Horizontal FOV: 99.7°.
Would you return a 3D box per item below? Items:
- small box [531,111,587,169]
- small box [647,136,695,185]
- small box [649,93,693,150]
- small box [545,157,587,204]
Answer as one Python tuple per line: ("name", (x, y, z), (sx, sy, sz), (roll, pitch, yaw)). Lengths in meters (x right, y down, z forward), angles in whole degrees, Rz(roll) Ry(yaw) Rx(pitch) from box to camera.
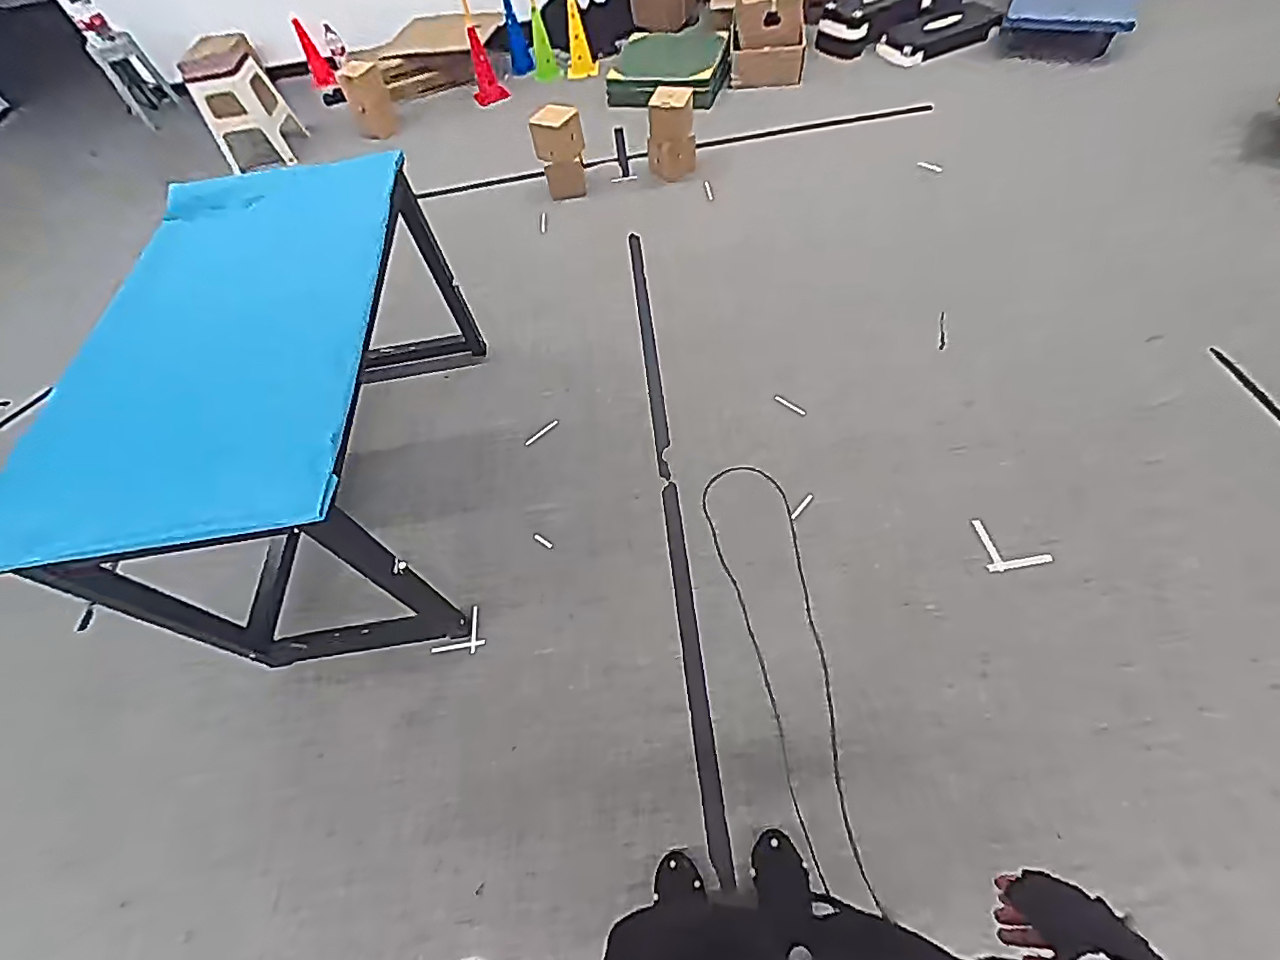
("small box", (-0.378, -1.589, 2.521), (0.179, 0.176, 0.168), (24, 63, 22))
("small box", (0.158, -1.583, 2.651), (0.179, 0.176, 0.168), (-34, 61, -14))
("small box", (0.148, -1.662, 2.507), (0.168, 0.176, 0.179), (13, 60, 13))
("small box", (-0.359, -1.488, 2.655), (0.179, 0.176, 0.168), (-7, 56, 4))
